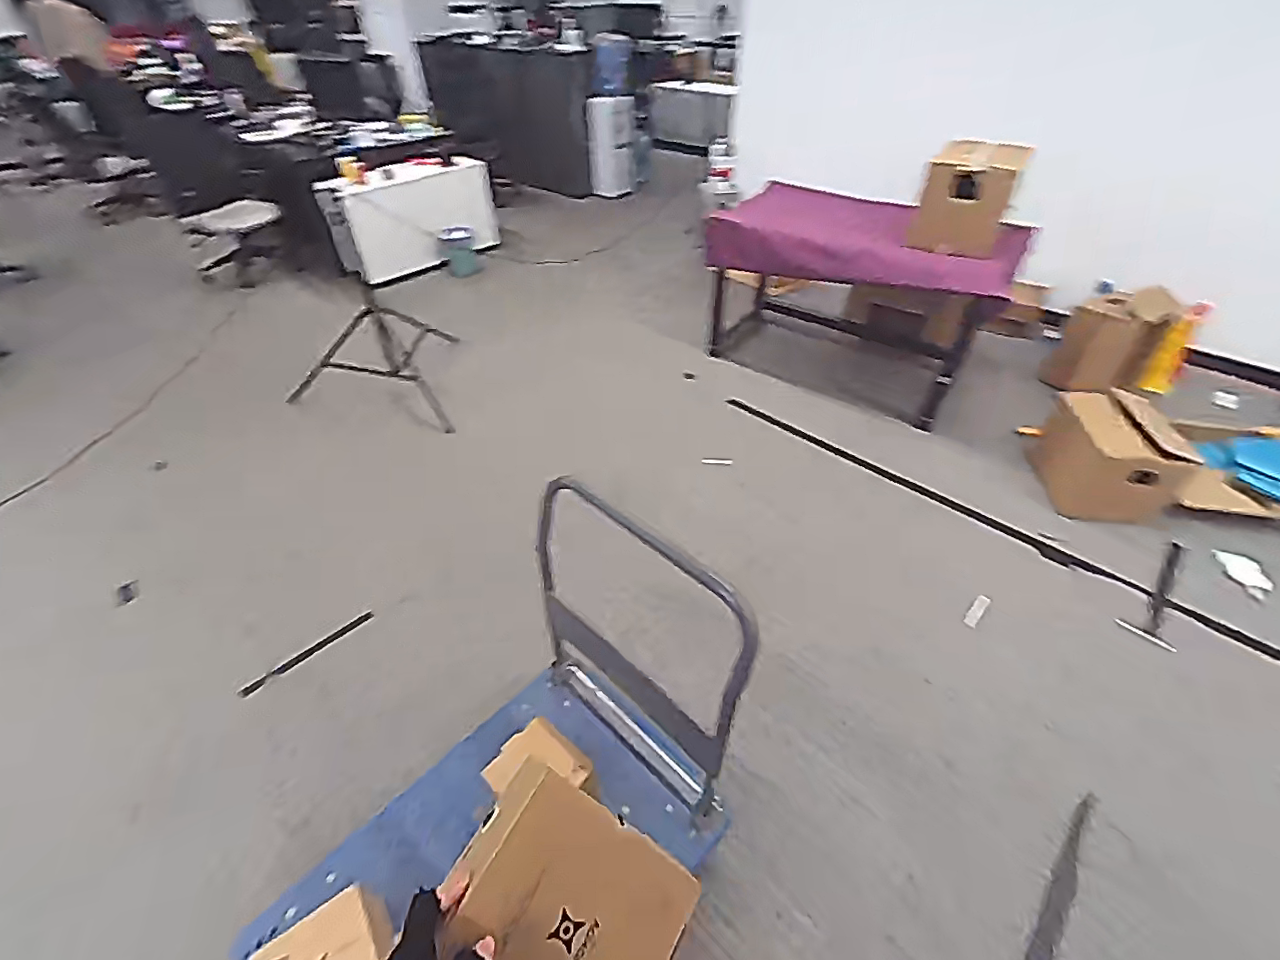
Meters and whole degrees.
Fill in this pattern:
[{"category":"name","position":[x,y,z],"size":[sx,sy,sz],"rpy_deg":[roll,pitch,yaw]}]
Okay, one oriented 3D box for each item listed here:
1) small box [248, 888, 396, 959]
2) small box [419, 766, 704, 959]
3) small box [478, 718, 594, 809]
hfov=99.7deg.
[{"category":"small box","position":[-0.539,0.867,0.935],"size":[0.179,0.176,0.168],"rpy_deg":[-26,48,-27]},{"category":"small box","position":[-0.076,0.393,0.505],"size":[0.179,0.176,0.168],"rpy_deg":[36,62,1]},{"category":"small box","position":[-0.217,0.663,1.165],"size":[0.179,0.176,0.168],"rpy_deg":[28,50,29]}]
